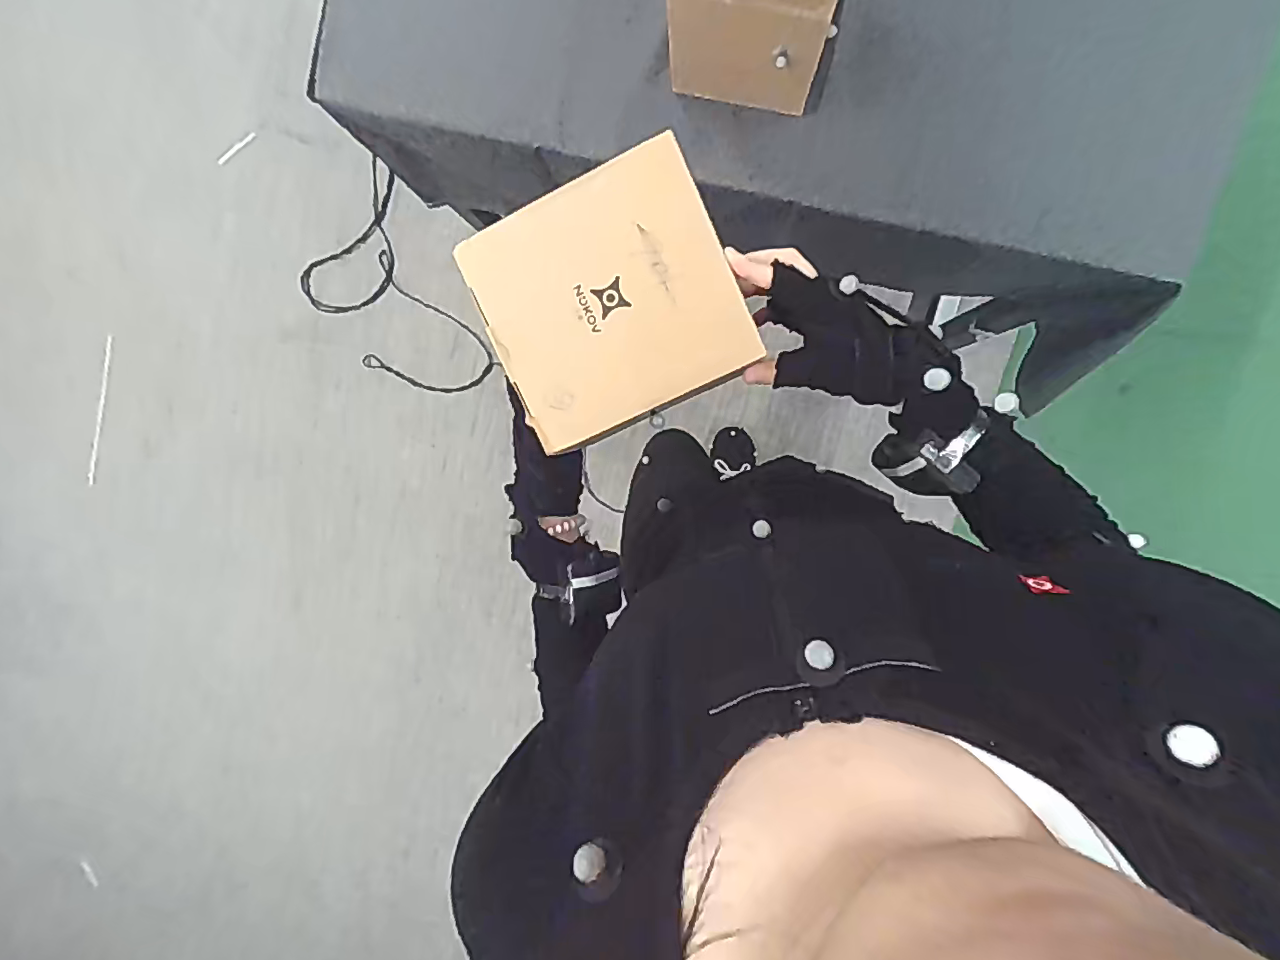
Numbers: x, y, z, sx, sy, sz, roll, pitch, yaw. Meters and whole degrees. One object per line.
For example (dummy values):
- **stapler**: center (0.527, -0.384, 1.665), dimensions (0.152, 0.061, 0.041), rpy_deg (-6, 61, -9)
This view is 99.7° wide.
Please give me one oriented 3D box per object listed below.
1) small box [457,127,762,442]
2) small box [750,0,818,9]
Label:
- **small box**: center (-0.014, -0.140, 0.458), dimensions (0.179, 0.176, 0.168), rpy_deg (-23, 94, 8)
- **small box**: center (0.122, -0.563, 0.468), dimensions (0.179, 0.176, 0.168), rpy_deg (14, 95, 5)
